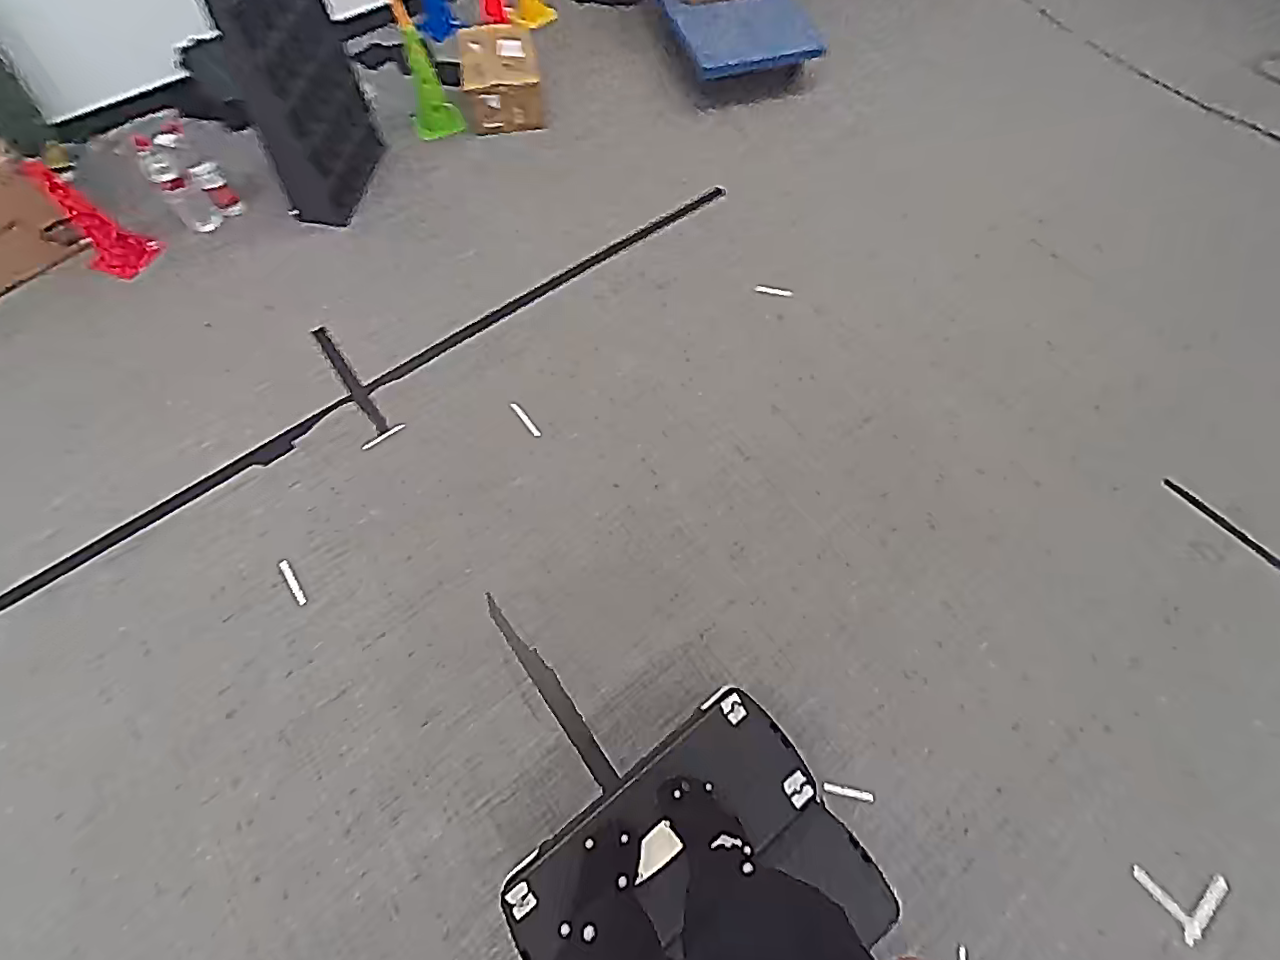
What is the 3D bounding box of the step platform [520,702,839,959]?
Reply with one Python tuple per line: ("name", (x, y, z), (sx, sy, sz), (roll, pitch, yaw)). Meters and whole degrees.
("step platform", (0.090, 0.791, 1.170), (0.684, 0.204, 0.286), (-31, 68, -15))
